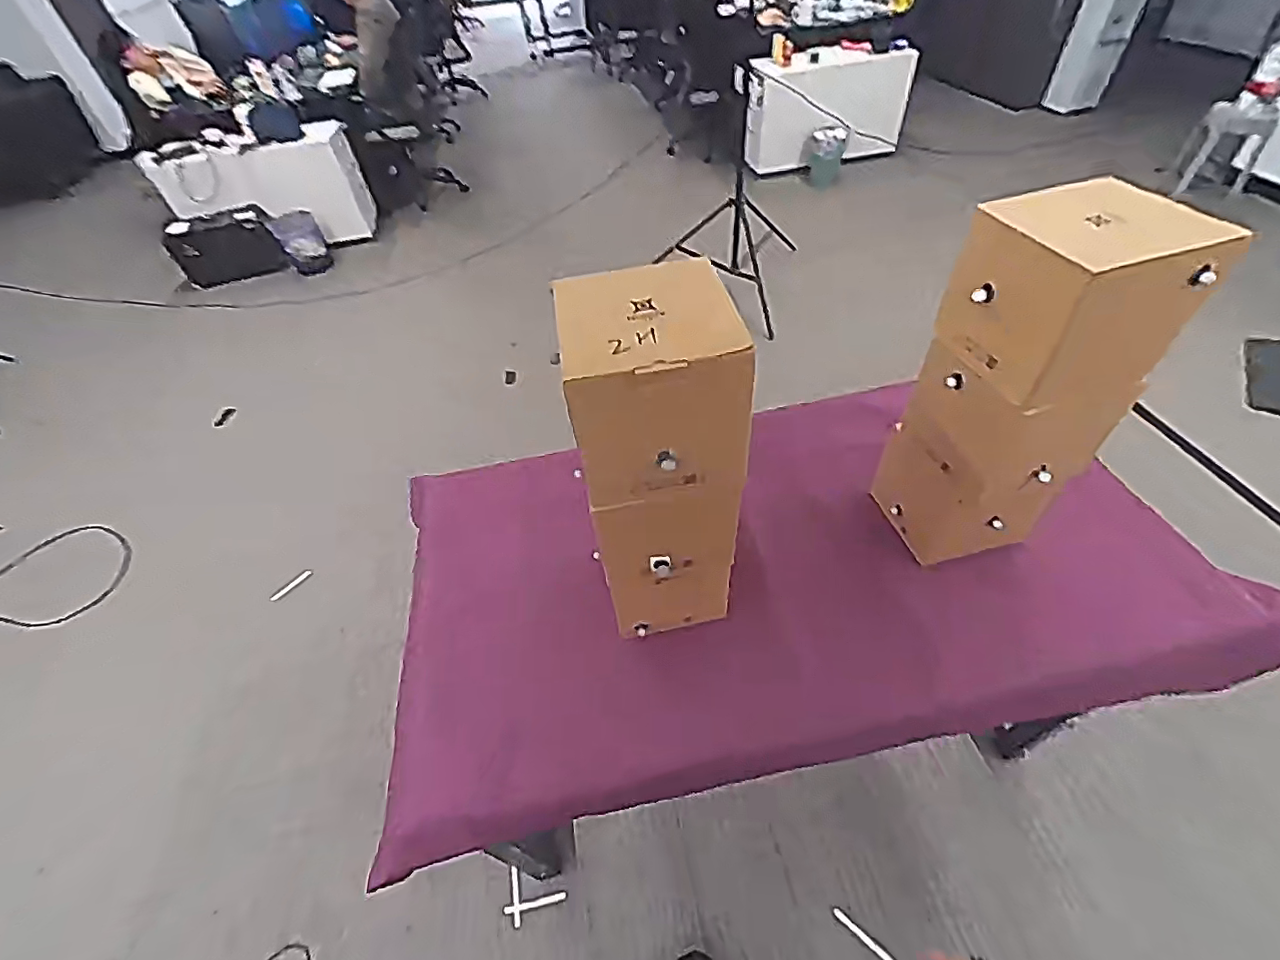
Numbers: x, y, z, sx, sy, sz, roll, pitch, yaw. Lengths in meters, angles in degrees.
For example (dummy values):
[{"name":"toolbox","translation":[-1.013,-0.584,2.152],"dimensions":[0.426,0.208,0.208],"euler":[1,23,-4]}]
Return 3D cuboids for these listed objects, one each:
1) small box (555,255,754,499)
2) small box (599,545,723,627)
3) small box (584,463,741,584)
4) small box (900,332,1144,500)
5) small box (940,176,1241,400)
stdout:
[{"name":"small box","translation":[0.010,-0.106,0.563],"dimensions":[0.168,0.176,0.179],"euler":[-10,48,-2]},{"name":"small box","translation":[0.026,0.104,0.814],"dimensions":[0.168,0.176,0.179],"euler":[-11,48,-5]},{"name":"small box","translation":[0.019,0.005,0.686],"dimensions":[0.168,0.176,0.179],"euler":[-12,49,-4]},{"name":"small box","translation":[0.489,-0.099,0.728],"dimensions":[0.179,0.176,0.168],"euler":[-15,48,-8]},{"name":"small box","translation":[0.473,-0.213,0.611],"dimensions":[0.179,0.176,0.168],"euler":[-15,49,-7]}]
